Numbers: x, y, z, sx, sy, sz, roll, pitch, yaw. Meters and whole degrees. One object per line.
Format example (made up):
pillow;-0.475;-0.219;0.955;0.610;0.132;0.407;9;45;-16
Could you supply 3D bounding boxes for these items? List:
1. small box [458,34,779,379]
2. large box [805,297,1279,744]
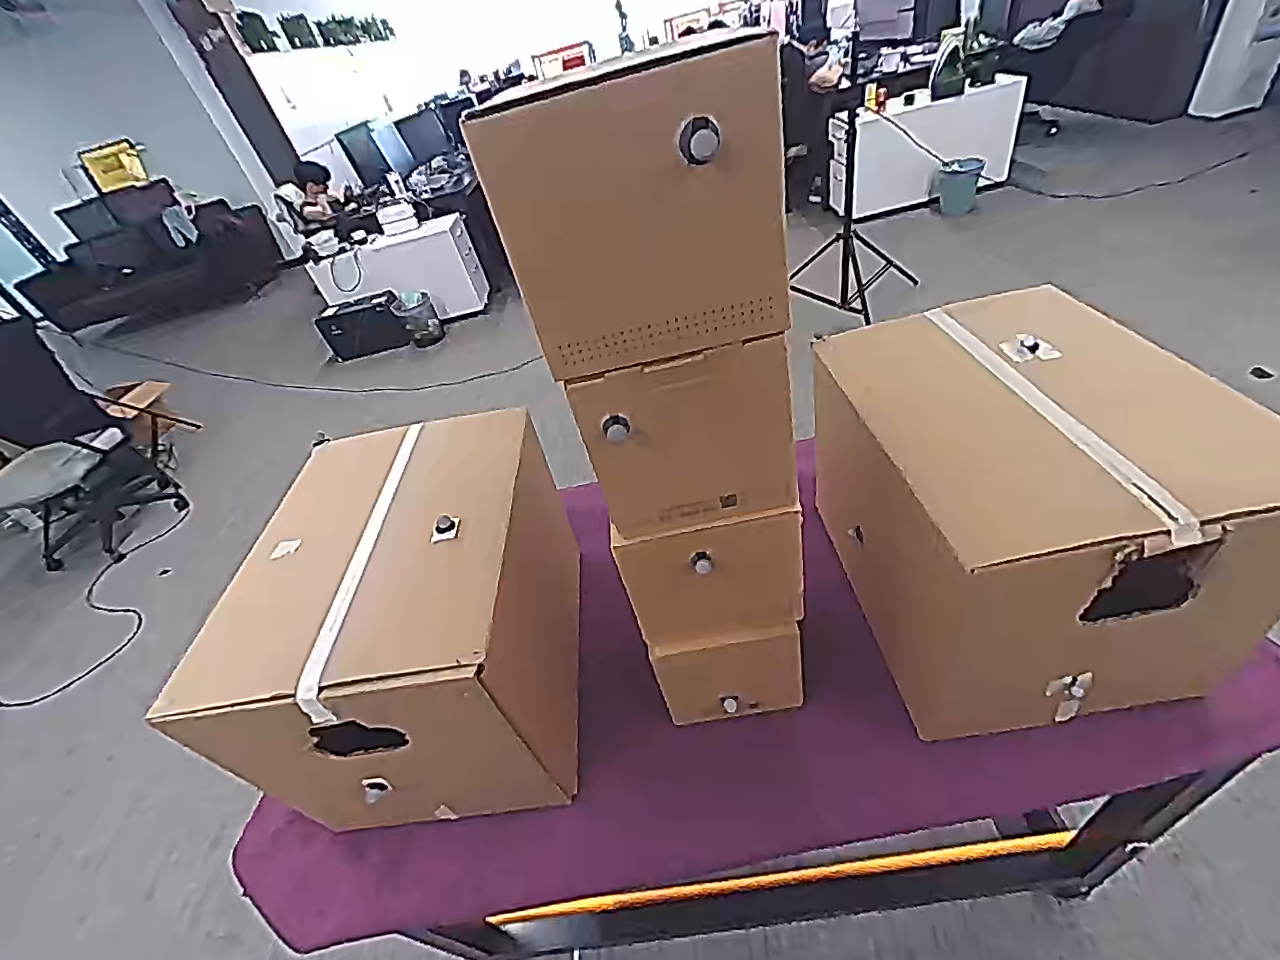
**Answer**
small box;-0.001;-0.197;0.396;0.179;0.176;0.168;-12;38;7
large box;0.419;0.032;0.654;0.320;0.320;0.408;-12;39;5
